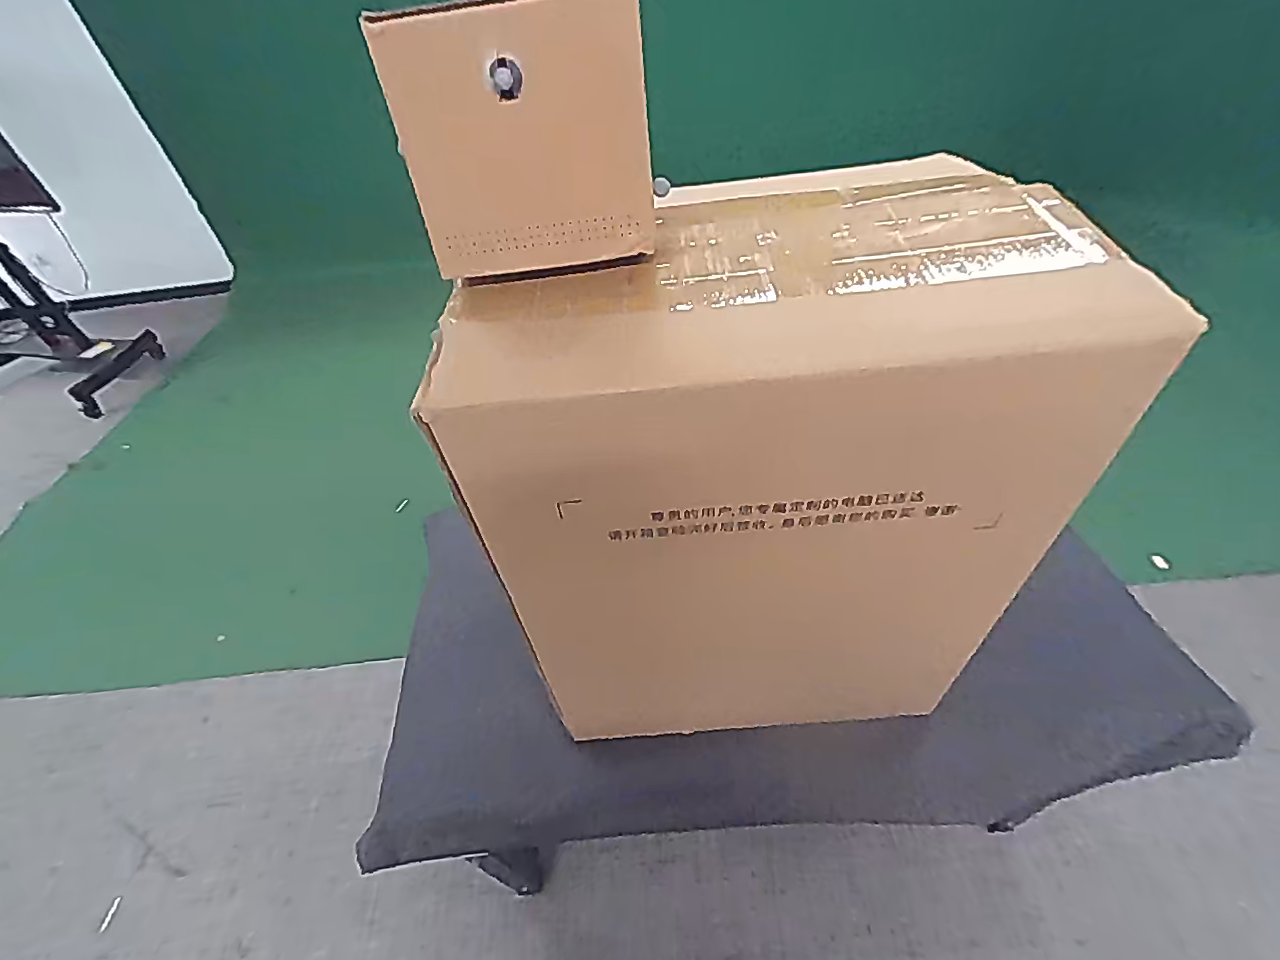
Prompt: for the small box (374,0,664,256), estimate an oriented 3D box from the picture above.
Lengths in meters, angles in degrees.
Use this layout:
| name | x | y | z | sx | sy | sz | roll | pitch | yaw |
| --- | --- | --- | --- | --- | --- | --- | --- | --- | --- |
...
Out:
| name | x | y | z | sx | sy | sz | roll | pitch | yaw |
| --- | --- | --- | --- | --- | --- | --- | --- | --- | --- |
| small box | -0.078 | -0.291 | 0.437 | 0.179 | 0.176 | 0.168 | -5 | 39 | -2 |
